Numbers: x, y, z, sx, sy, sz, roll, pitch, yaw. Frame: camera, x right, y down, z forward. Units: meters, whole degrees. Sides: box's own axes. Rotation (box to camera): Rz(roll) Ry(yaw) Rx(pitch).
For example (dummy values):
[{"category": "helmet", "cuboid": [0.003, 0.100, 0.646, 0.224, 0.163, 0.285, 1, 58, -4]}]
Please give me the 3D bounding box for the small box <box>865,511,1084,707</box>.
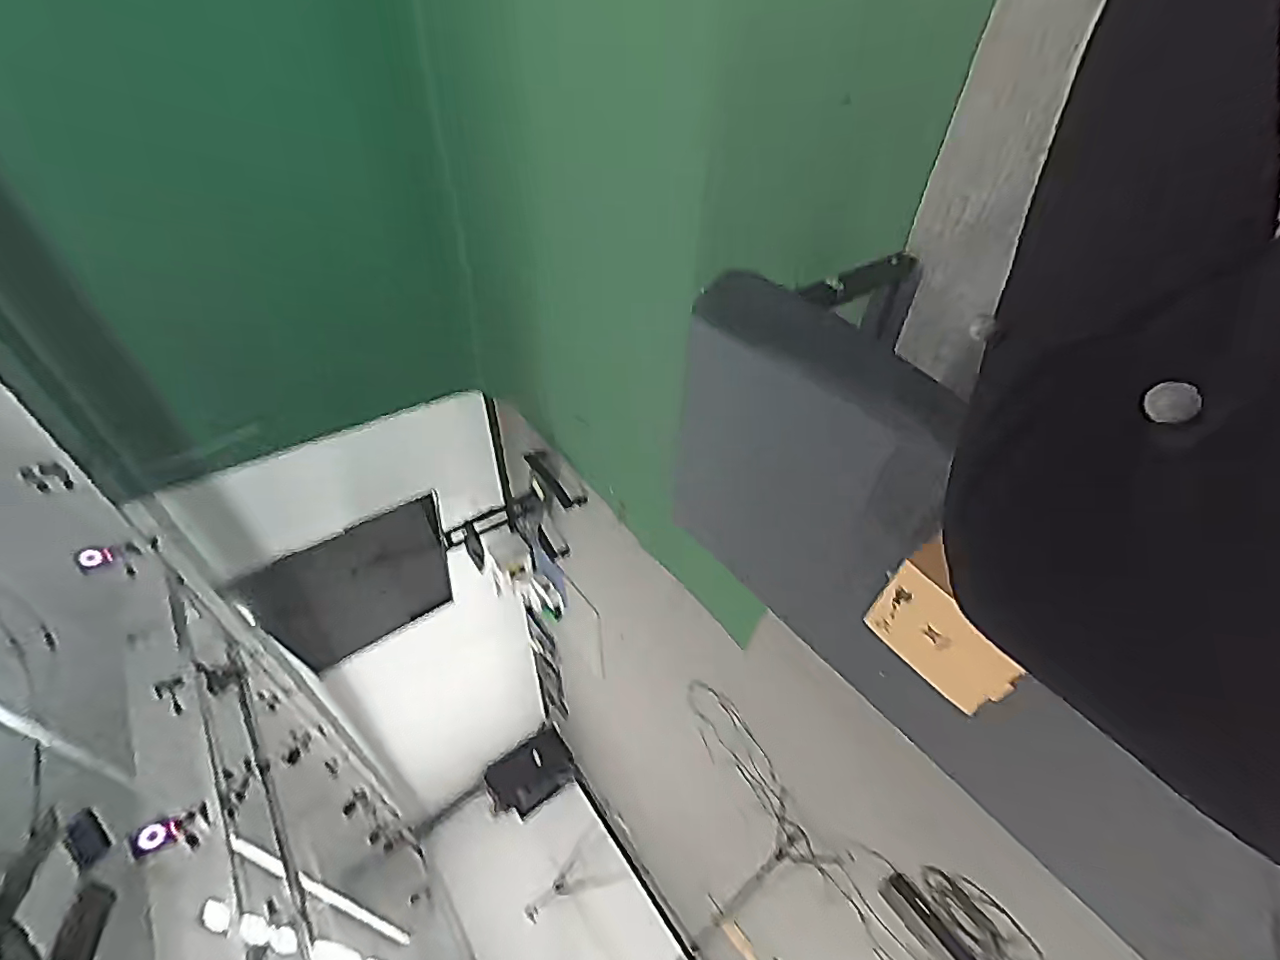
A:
[{"category": "small box", "cuboid": [0.464, 0.174, 0.762, 0.179, 0.176, 0.168, 45, 149, 32]}]
